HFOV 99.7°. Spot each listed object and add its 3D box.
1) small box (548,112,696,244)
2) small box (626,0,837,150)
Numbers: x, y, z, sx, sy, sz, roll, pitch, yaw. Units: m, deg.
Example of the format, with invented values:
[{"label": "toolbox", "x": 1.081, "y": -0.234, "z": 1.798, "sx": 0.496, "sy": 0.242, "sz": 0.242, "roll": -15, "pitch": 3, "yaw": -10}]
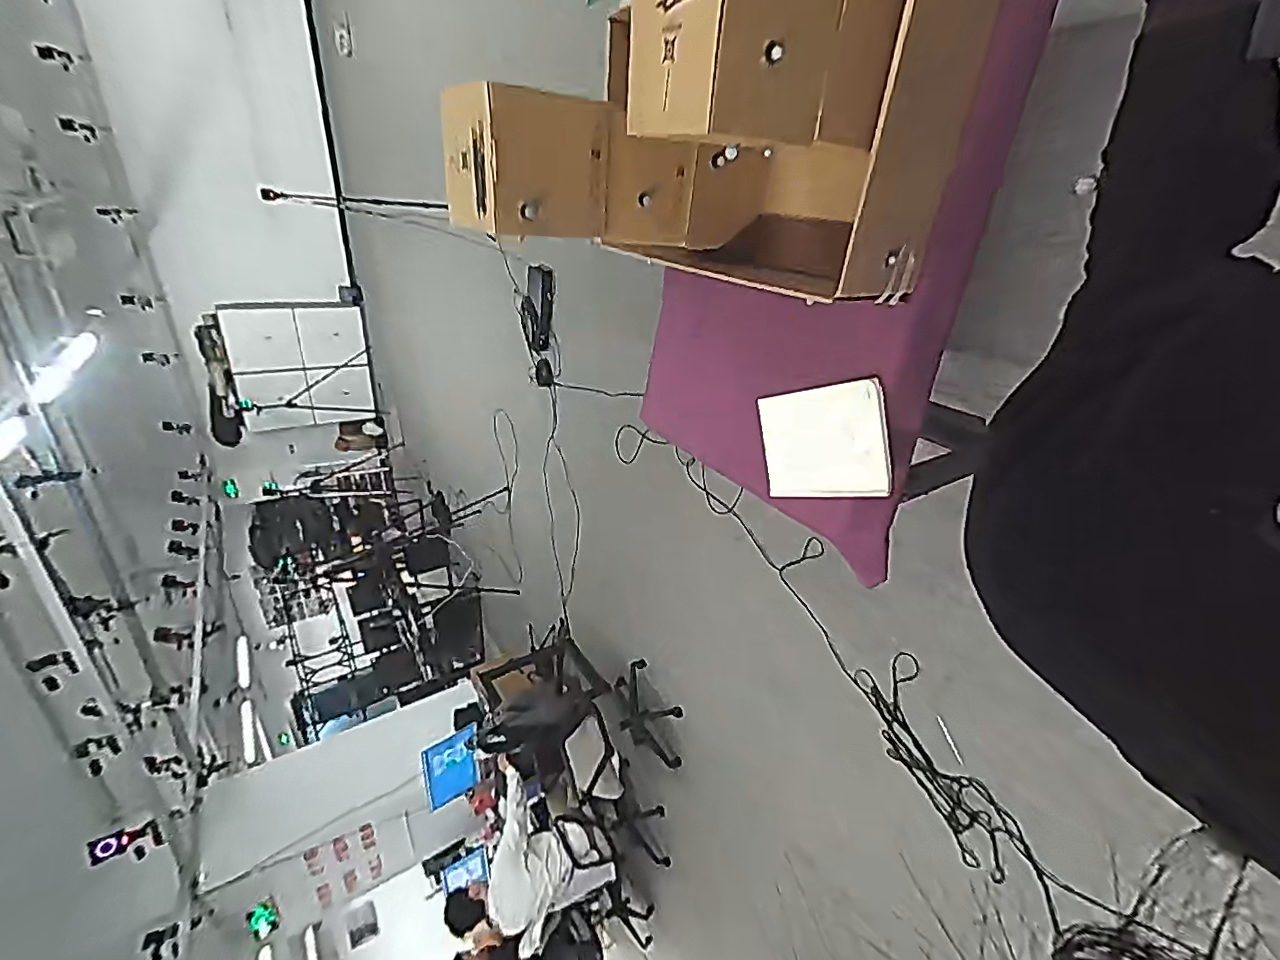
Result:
[{"label": "small box", "x": -0.032, "y": -0.474, "z": 0.856, "sx": 0.179, "sy": 0.176, "sz": 0.168, "roll": 37, "pitch": 131, "yaw": 43}, {"label": "small box", "x": 0.102, "y": -0.496, "z": 0.630, "sx": 0.168, "sy": 0.176, "sz": 0.179, "roll": 39, "pitch": 135, "yaw": 45}]
